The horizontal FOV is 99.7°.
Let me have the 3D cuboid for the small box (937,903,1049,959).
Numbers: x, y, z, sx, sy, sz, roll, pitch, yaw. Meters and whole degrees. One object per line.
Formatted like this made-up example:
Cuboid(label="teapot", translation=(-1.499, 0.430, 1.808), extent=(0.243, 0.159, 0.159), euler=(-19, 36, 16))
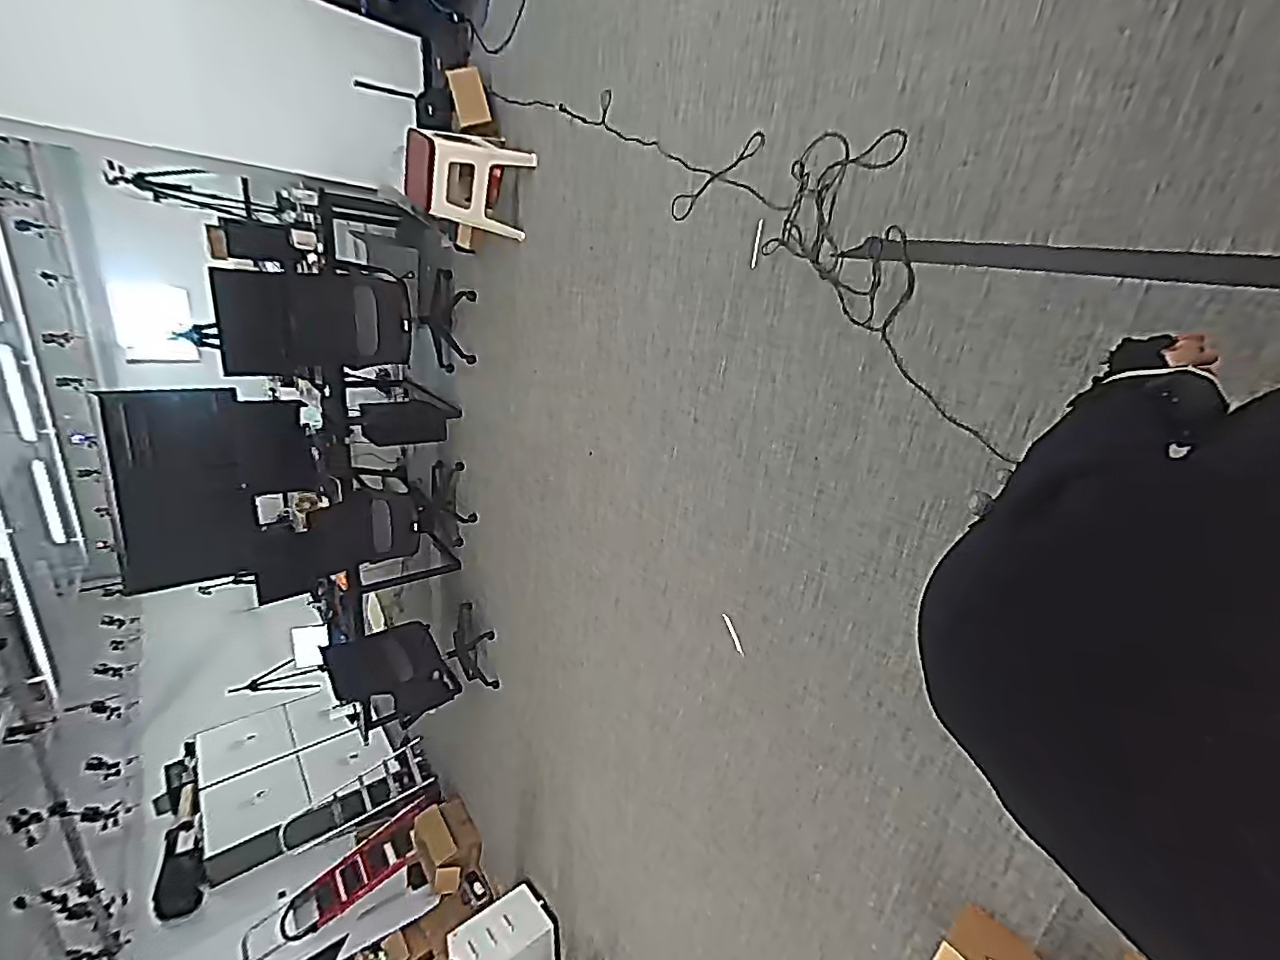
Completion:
Cuboid(label="small box", translation=(0.880, 1.221, 1.360), extent=(0.179, 0.176, 0.168), euler=(29, 120, 43))
